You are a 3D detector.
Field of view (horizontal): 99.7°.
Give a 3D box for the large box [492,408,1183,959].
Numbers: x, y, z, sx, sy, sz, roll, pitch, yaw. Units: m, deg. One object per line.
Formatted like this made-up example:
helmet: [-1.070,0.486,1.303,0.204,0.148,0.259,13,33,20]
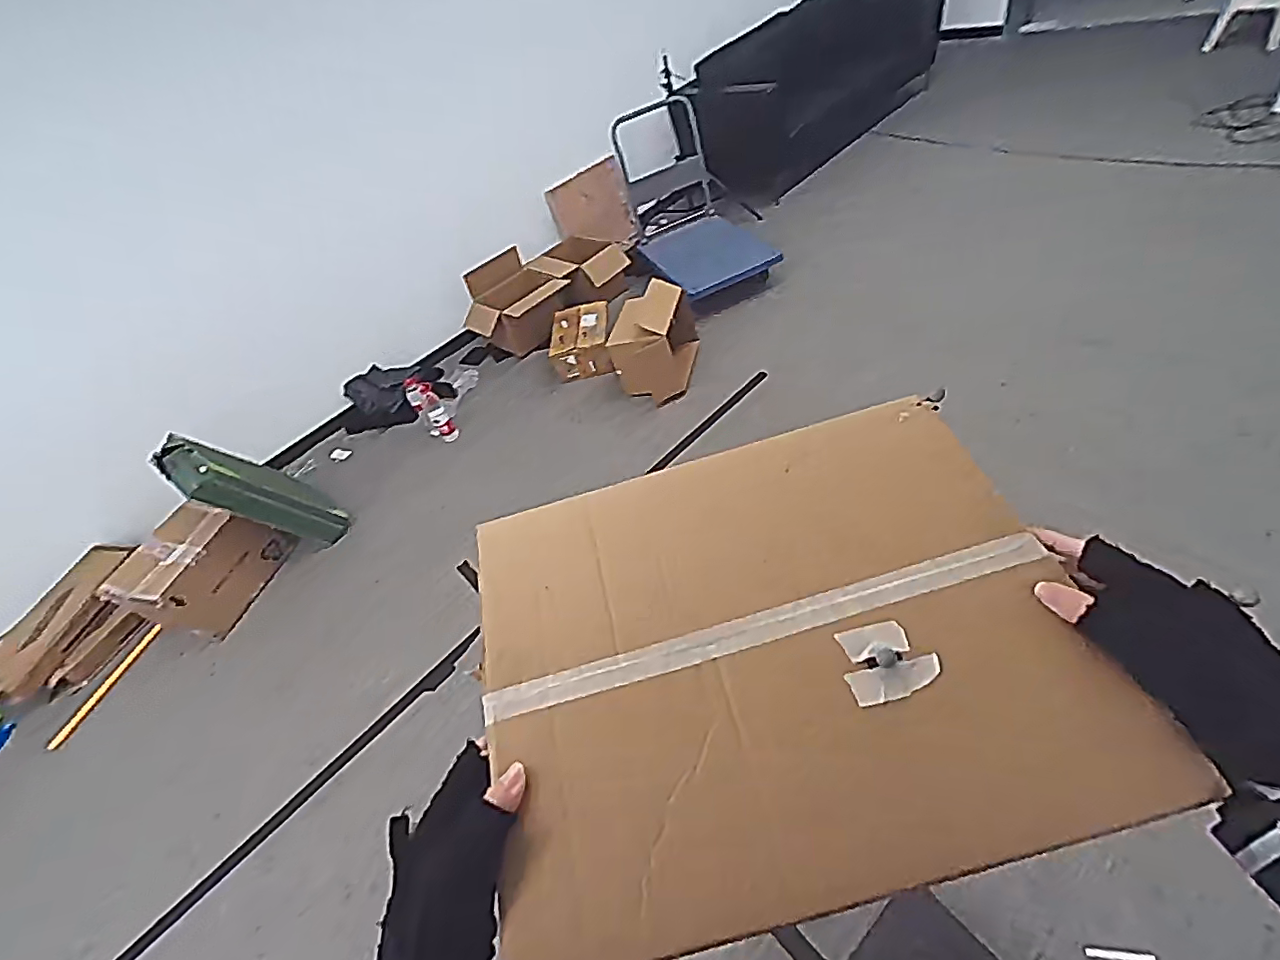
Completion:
large box: [0.115,0.194,0.516,0.408,0.320,0.320,-17,55,1]
